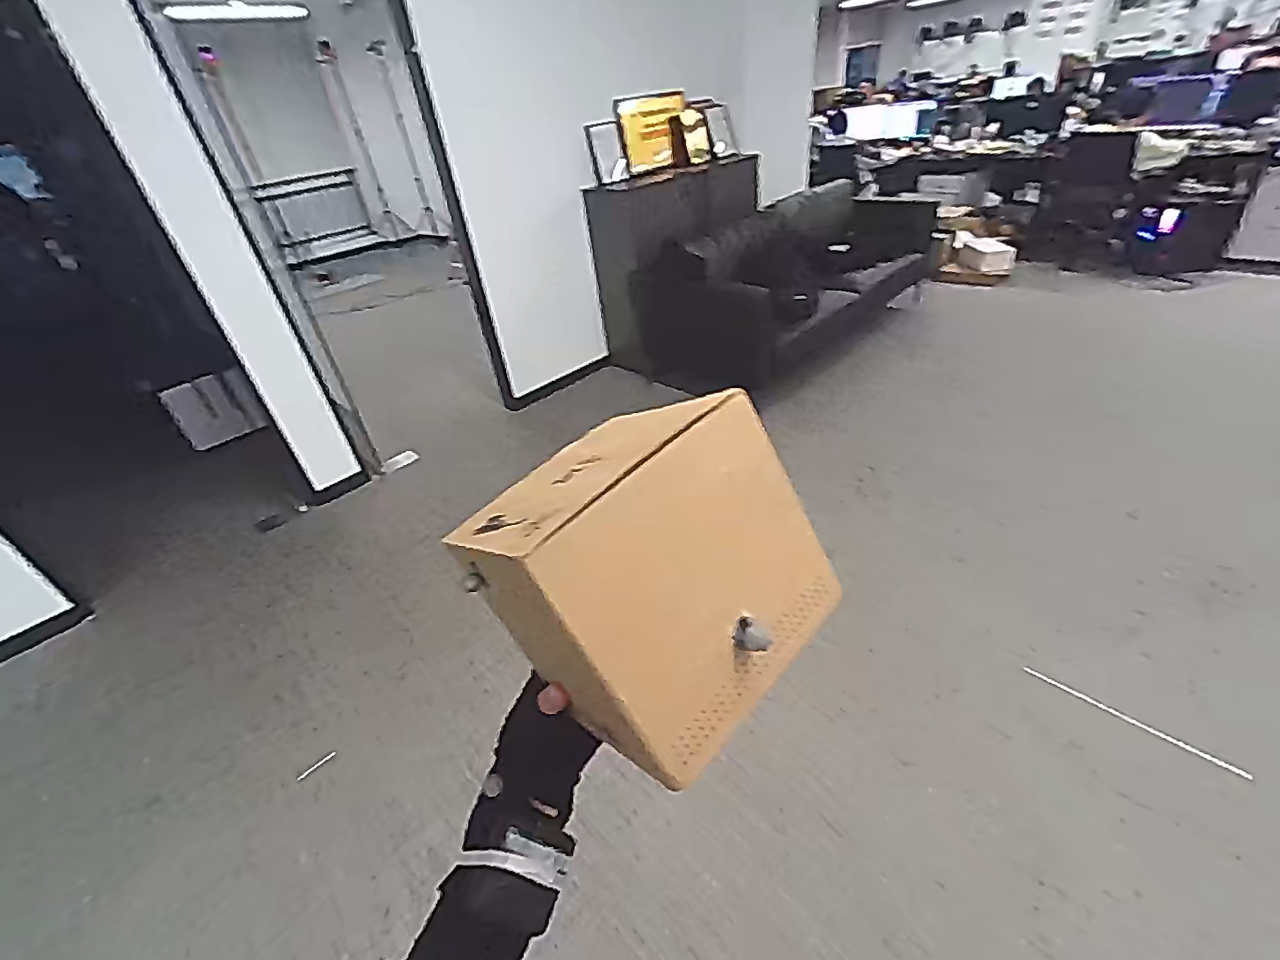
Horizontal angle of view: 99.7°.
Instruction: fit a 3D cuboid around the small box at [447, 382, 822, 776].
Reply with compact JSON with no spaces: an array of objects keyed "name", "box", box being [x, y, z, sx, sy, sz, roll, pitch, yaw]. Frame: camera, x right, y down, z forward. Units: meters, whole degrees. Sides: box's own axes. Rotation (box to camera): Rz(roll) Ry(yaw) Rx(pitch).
[{"name":"small box","box":[0.002,0.056,0.380,0.179,0.176,0.168,-38,17,-28]}]
